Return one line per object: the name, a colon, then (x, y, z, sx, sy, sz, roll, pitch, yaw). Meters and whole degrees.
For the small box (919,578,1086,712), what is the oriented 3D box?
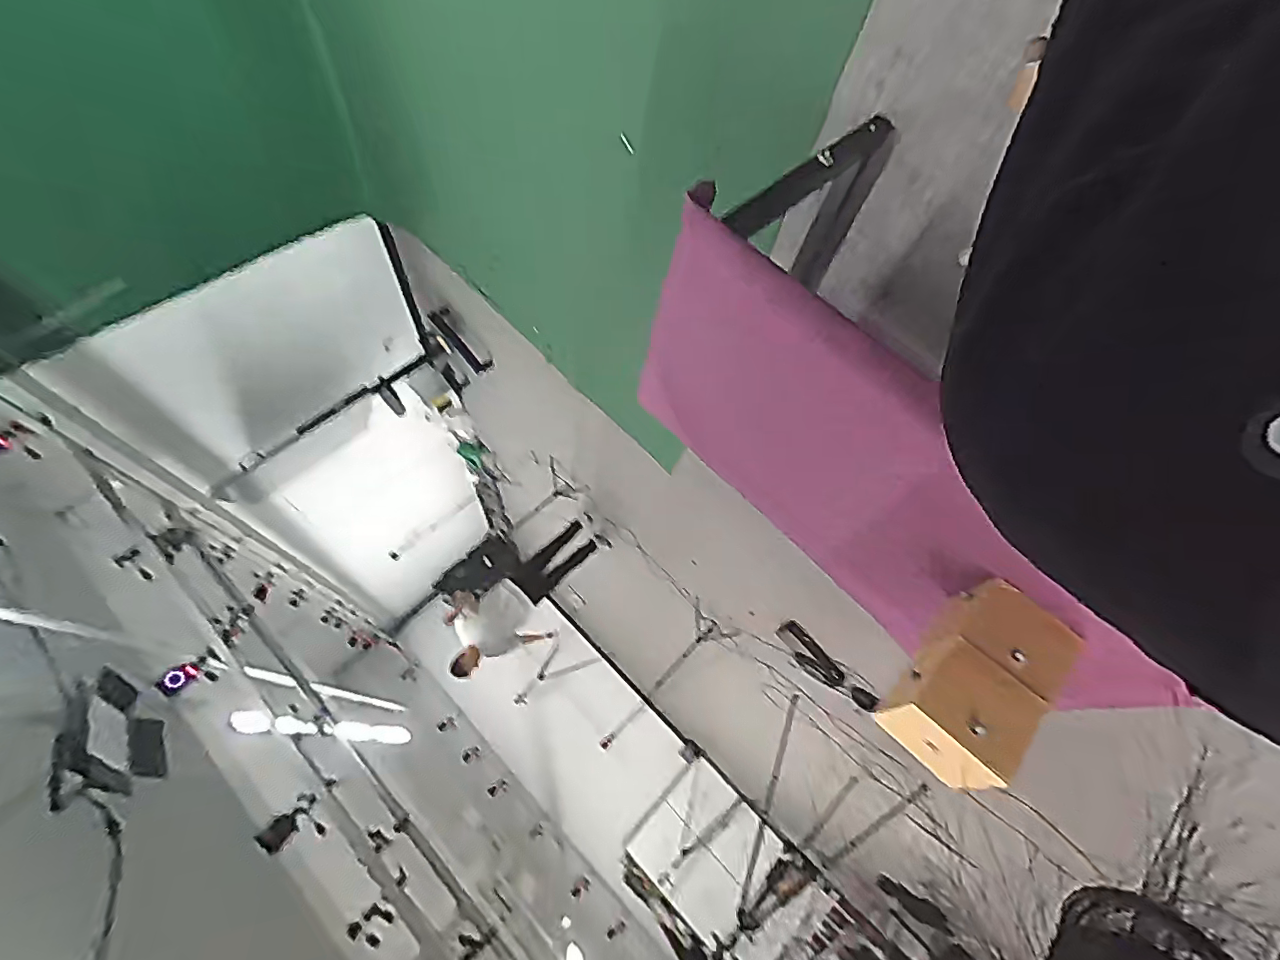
small box: (0.685, 0.319, 1.027, 0.179, 0.176, 0.168, 42, 155, 17)

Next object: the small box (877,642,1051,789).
small box: (0.570, 0.411, 0.961, 0.179, 0.176, 0.168, 40, 154, 18)
